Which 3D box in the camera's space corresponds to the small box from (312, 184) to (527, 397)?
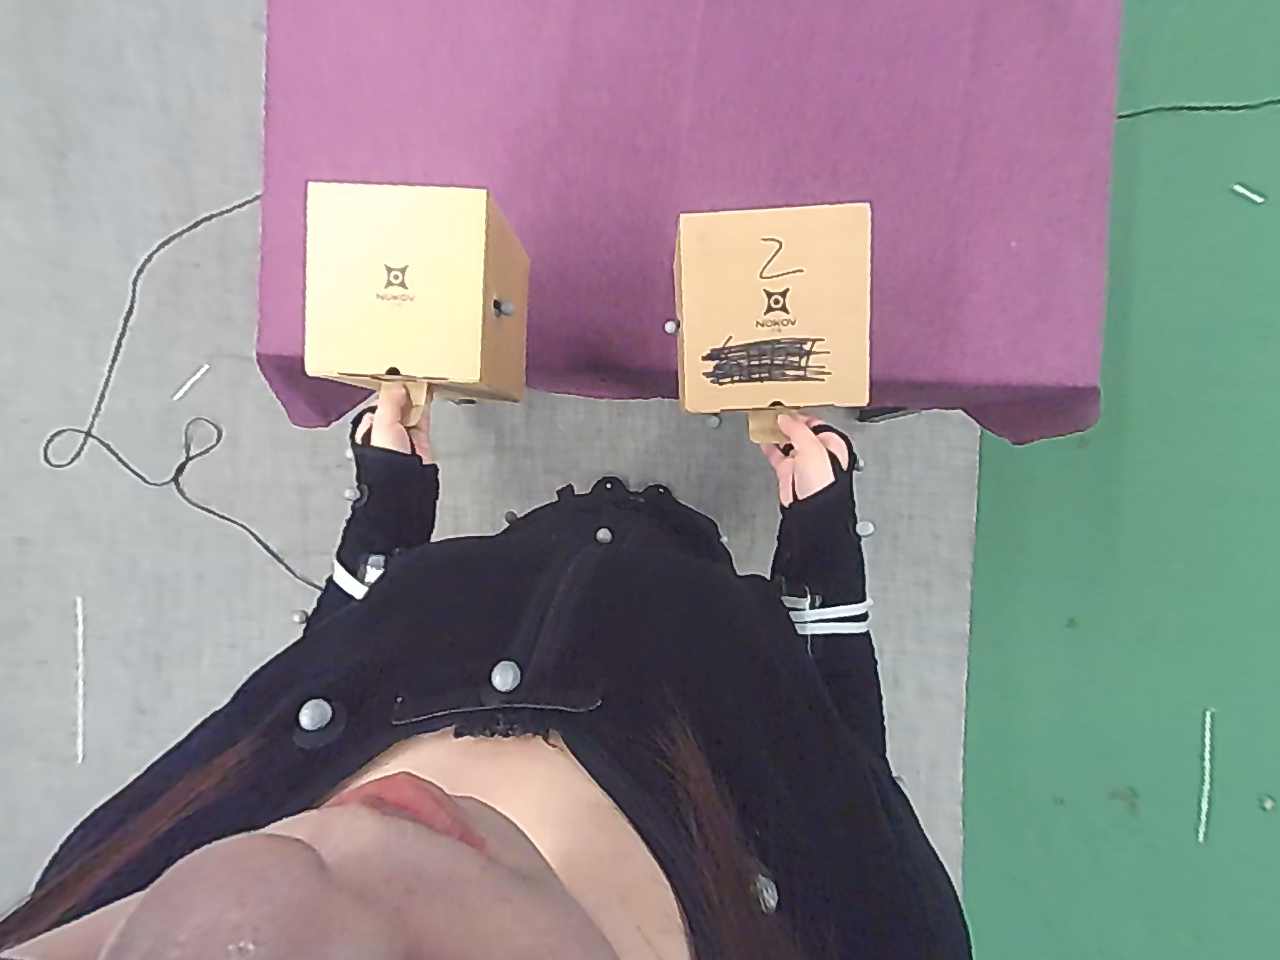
[{"bbox_3d":[-0.224,-0.190,0.589,0.168,0.176,0.179,3,94,1],"label":"small box"}]
